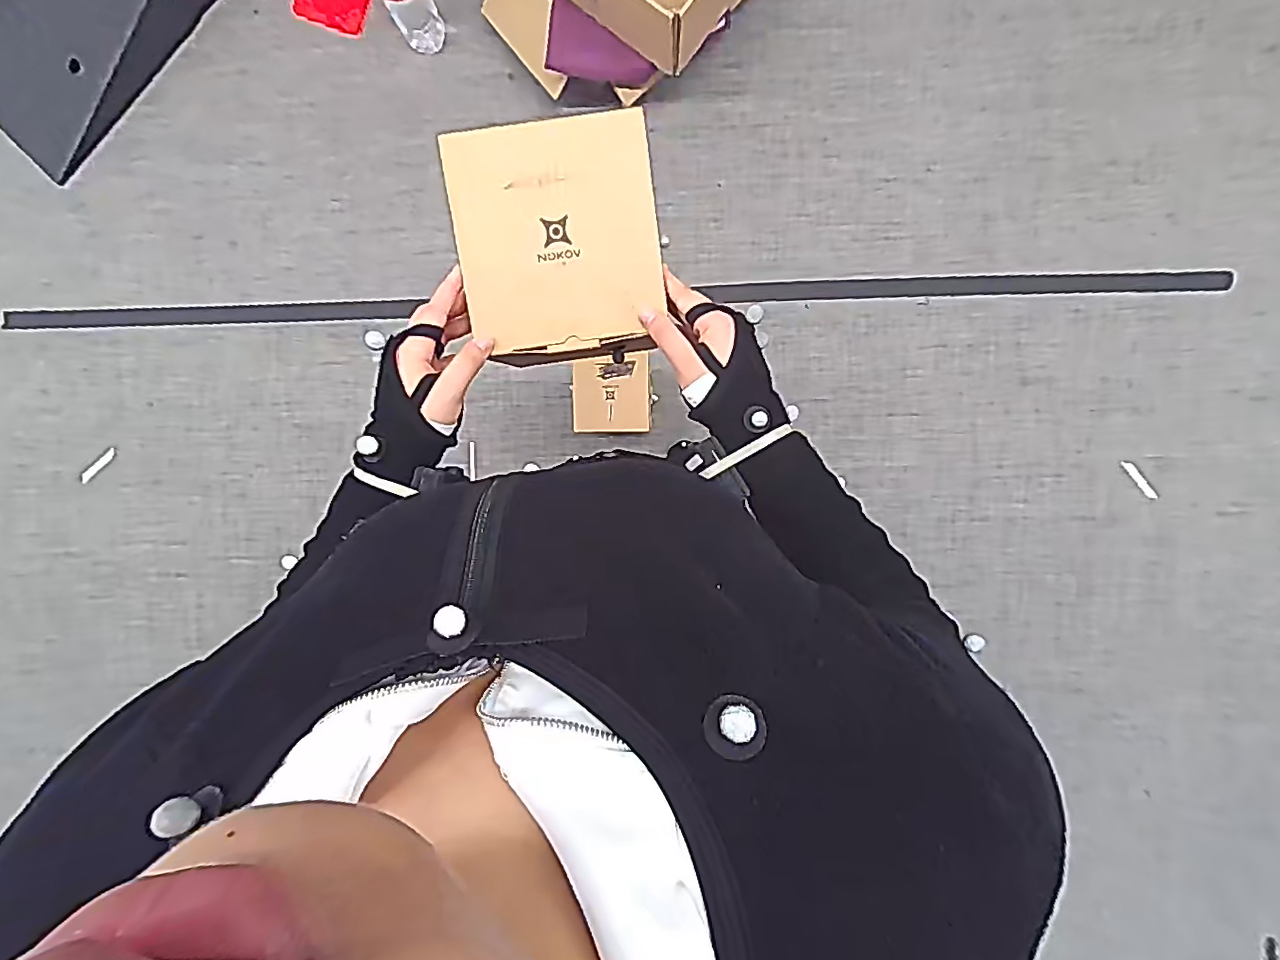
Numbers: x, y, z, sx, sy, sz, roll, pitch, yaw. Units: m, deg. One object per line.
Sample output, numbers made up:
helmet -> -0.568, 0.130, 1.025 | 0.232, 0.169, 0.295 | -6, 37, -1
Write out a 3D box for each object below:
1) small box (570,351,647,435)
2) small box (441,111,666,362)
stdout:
small box -> -0.068, -0.194, 1.239 | 0.168, 0.176, 0.179 | 0, 95, 1
small box -> -0.069, -0.211, 0.520 | 0.168, 0.176, 0.179 | -8, 99, -1
